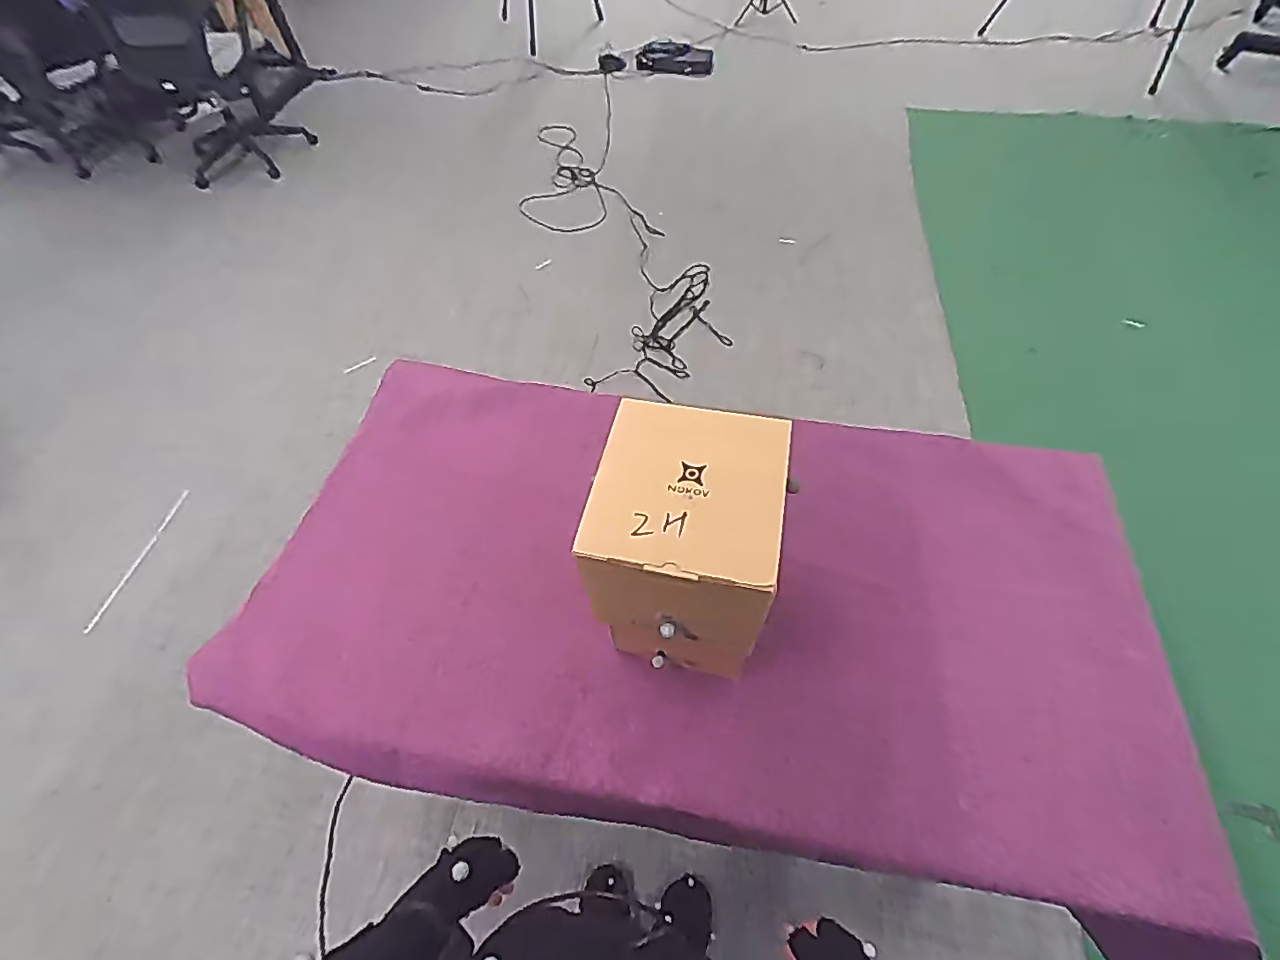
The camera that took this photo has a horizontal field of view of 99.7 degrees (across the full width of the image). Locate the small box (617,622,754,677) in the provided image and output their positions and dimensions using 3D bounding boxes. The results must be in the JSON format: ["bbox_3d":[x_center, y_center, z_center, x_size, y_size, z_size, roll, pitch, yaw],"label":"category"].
[{"bbox_3d":[0.066,0.126,0.687,0.168,0.176,0.179,11,58,11],"label":"small box"}]

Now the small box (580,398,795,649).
[{"bbox_3d":[0.051,0.046,0.544,0.168,0.176,0.179,9,57,10],"label":"small box"}]
